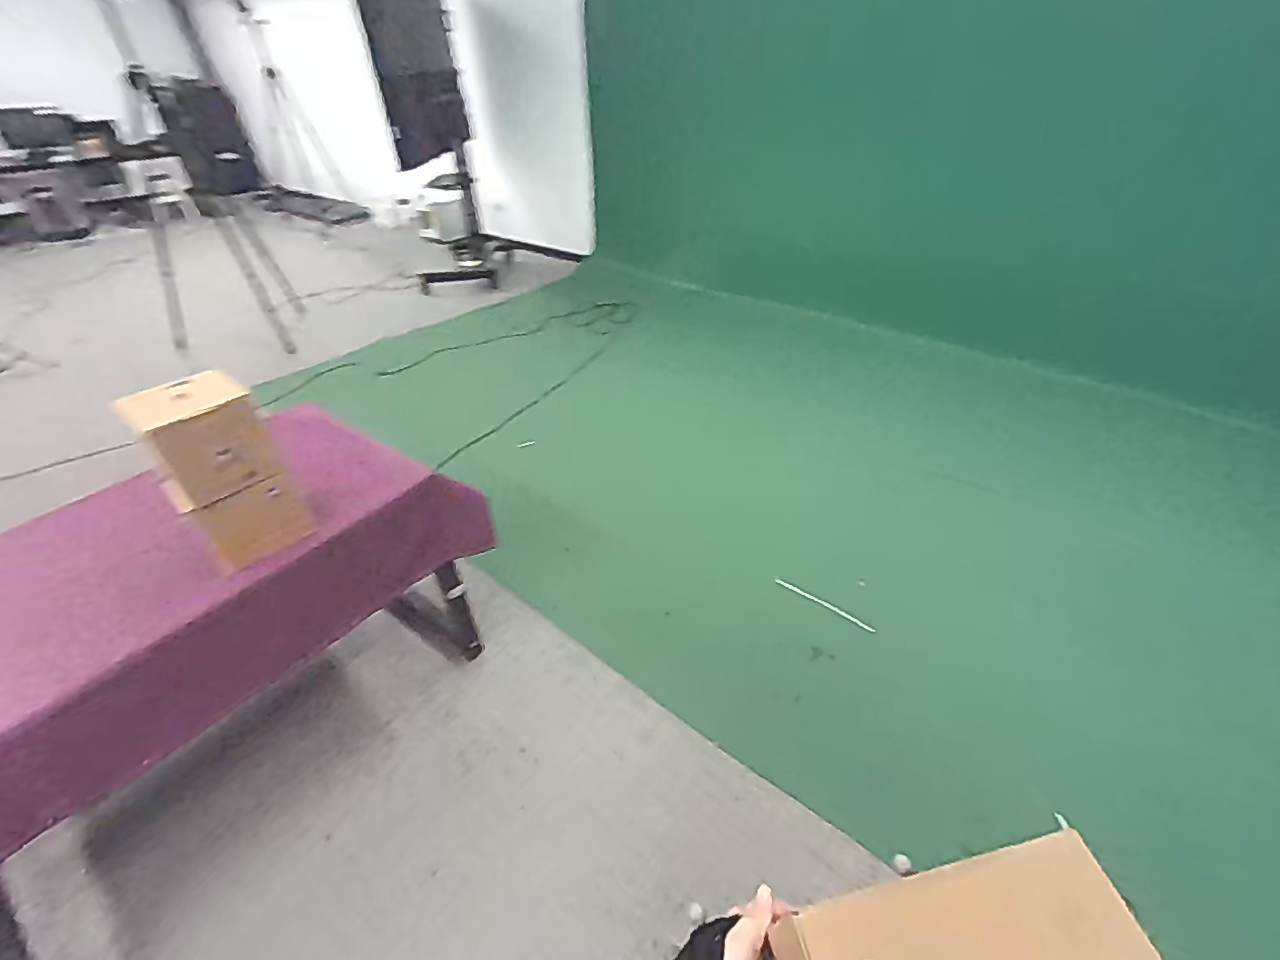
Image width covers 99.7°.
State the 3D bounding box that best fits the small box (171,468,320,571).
[{"bbox_3d":[-0.805,0.055,1.116,0.168,0.176,0.179,29,46,33],"label":"small box"}]

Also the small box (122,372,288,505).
[{"bbox_3d":[-0.807,-0.077,1.018,0.179,0.176,0.168,26,45,30],"label":"small box"}]
